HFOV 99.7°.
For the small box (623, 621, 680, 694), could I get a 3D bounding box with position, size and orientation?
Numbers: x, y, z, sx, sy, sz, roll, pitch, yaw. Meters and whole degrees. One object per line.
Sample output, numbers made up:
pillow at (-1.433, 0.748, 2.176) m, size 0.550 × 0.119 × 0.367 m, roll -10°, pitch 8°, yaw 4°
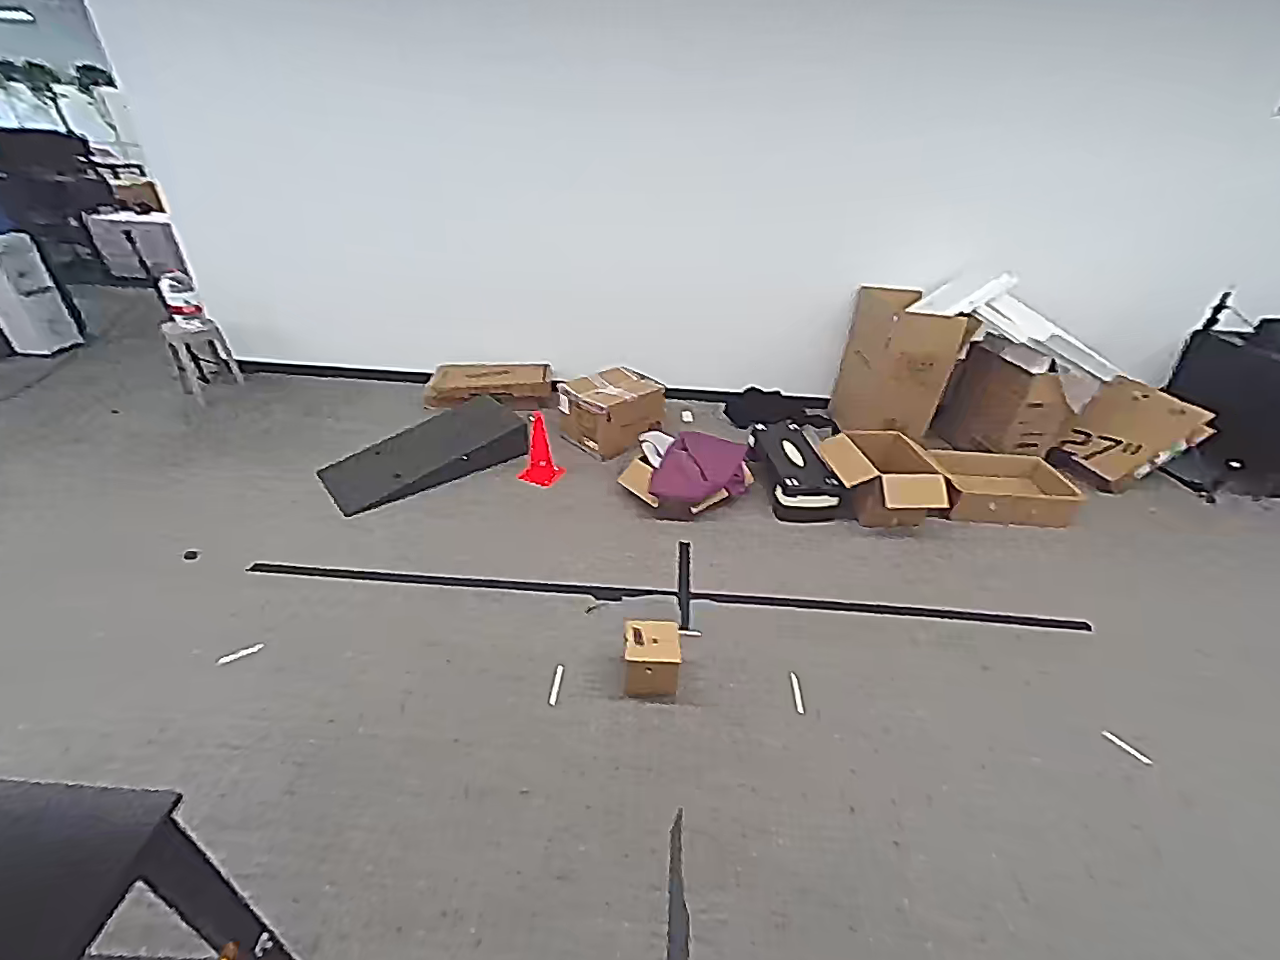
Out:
small box at (0.034, 0.588, 1.788) m, size 0.179 × 0.176 × 0.168 m, roll 2°, pitch 33°, yaw -2°
